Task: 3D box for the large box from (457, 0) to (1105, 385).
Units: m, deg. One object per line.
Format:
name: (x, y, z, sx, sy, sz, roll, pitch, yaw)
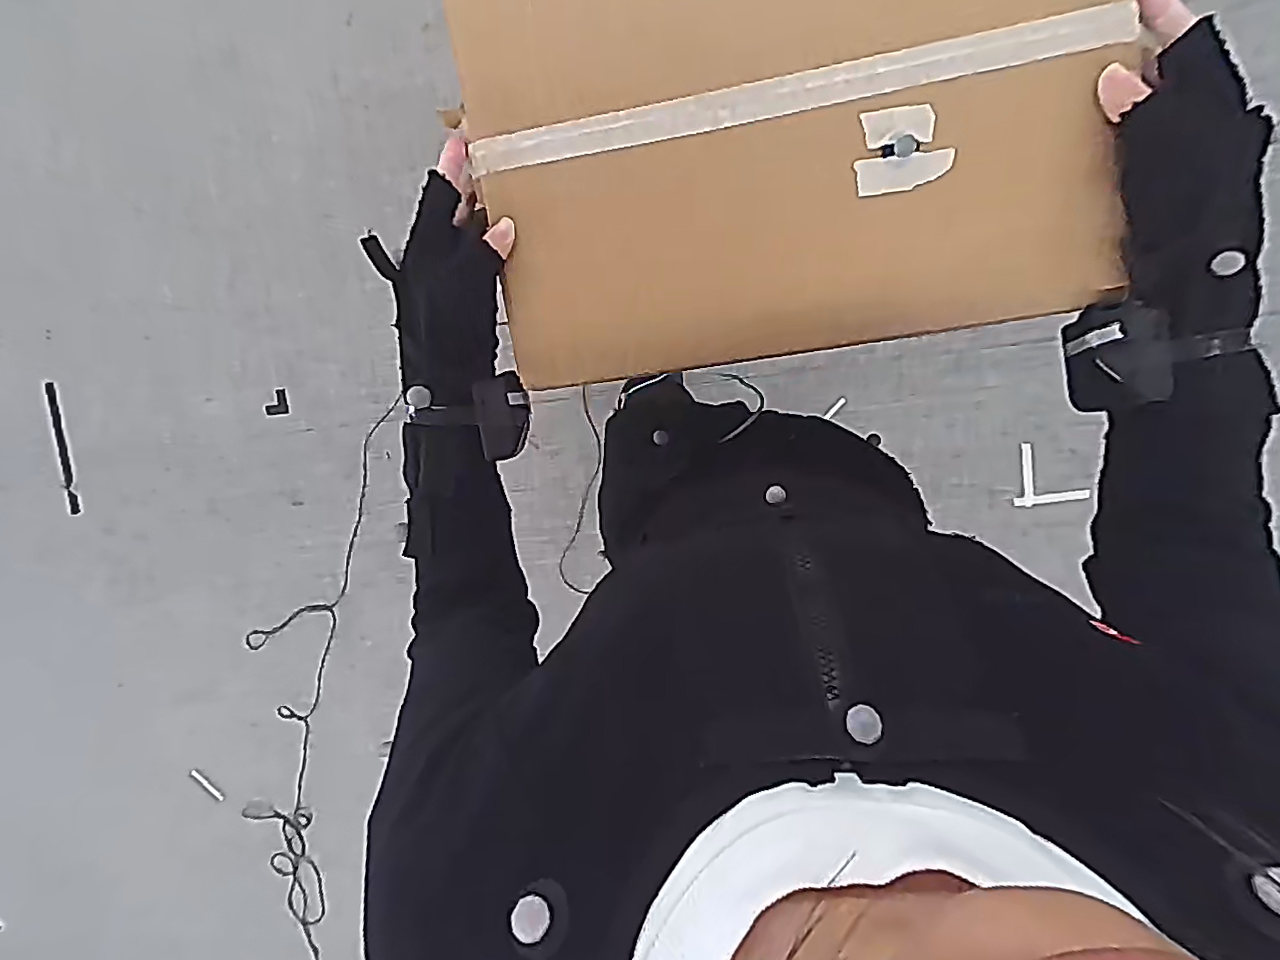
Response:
large box: (0.100, -0.278, 0.500, 0.408, 0.320, 0.320, -8, 102, 6)
